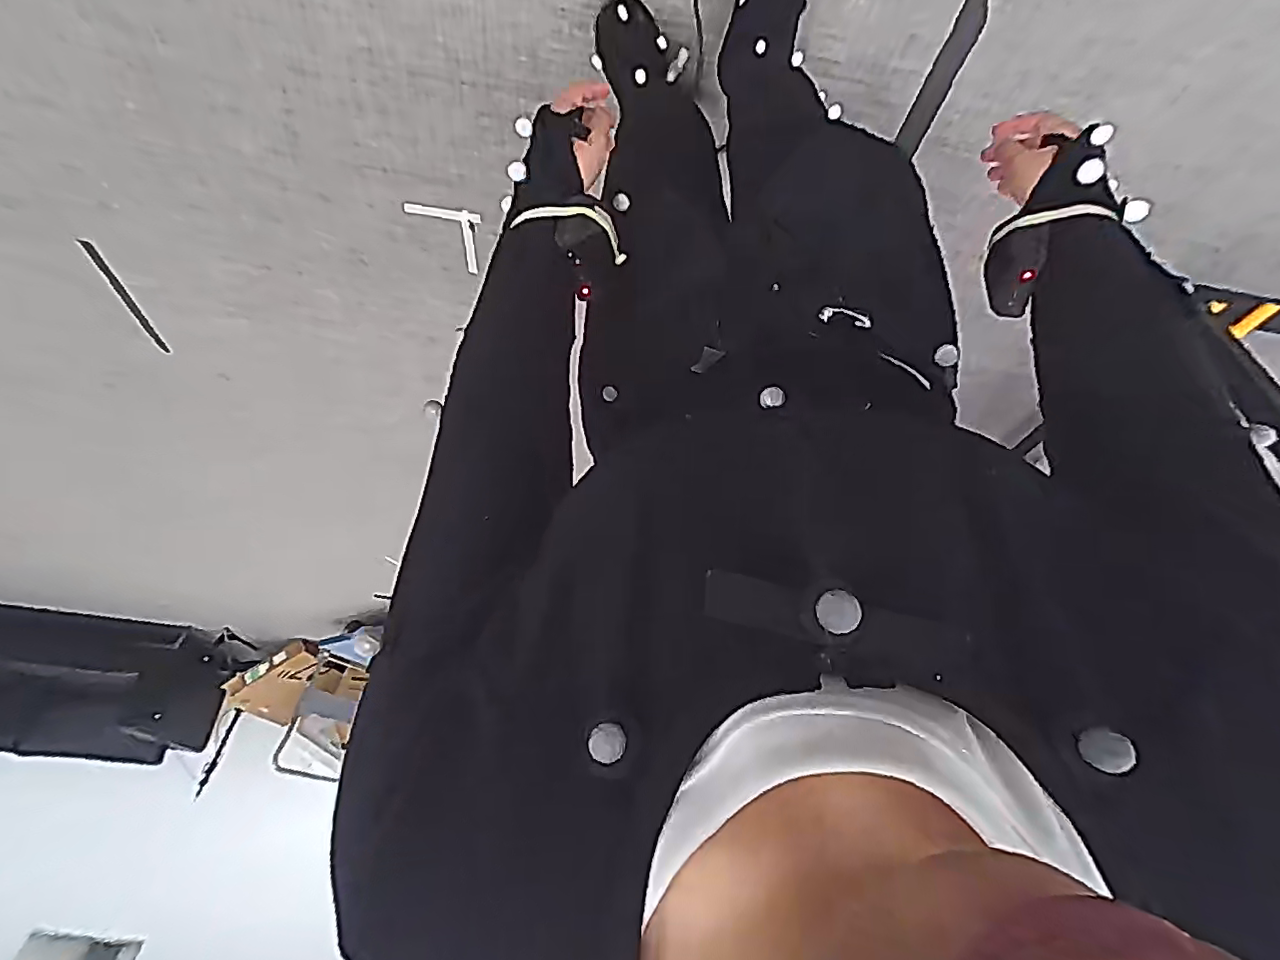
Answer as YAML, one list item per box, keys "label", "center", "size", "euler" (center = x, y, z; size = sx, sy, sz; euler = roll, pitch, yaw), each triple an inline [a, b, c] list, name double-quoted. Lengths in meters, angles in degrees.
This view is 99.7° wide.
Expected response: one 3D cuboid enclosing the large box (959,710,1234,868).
- label: "large box"
  center: [1.166, 0.826, 1.442]
  size: [0.408, 0.320, 0.320]
  euler: [8, 144, -4]
